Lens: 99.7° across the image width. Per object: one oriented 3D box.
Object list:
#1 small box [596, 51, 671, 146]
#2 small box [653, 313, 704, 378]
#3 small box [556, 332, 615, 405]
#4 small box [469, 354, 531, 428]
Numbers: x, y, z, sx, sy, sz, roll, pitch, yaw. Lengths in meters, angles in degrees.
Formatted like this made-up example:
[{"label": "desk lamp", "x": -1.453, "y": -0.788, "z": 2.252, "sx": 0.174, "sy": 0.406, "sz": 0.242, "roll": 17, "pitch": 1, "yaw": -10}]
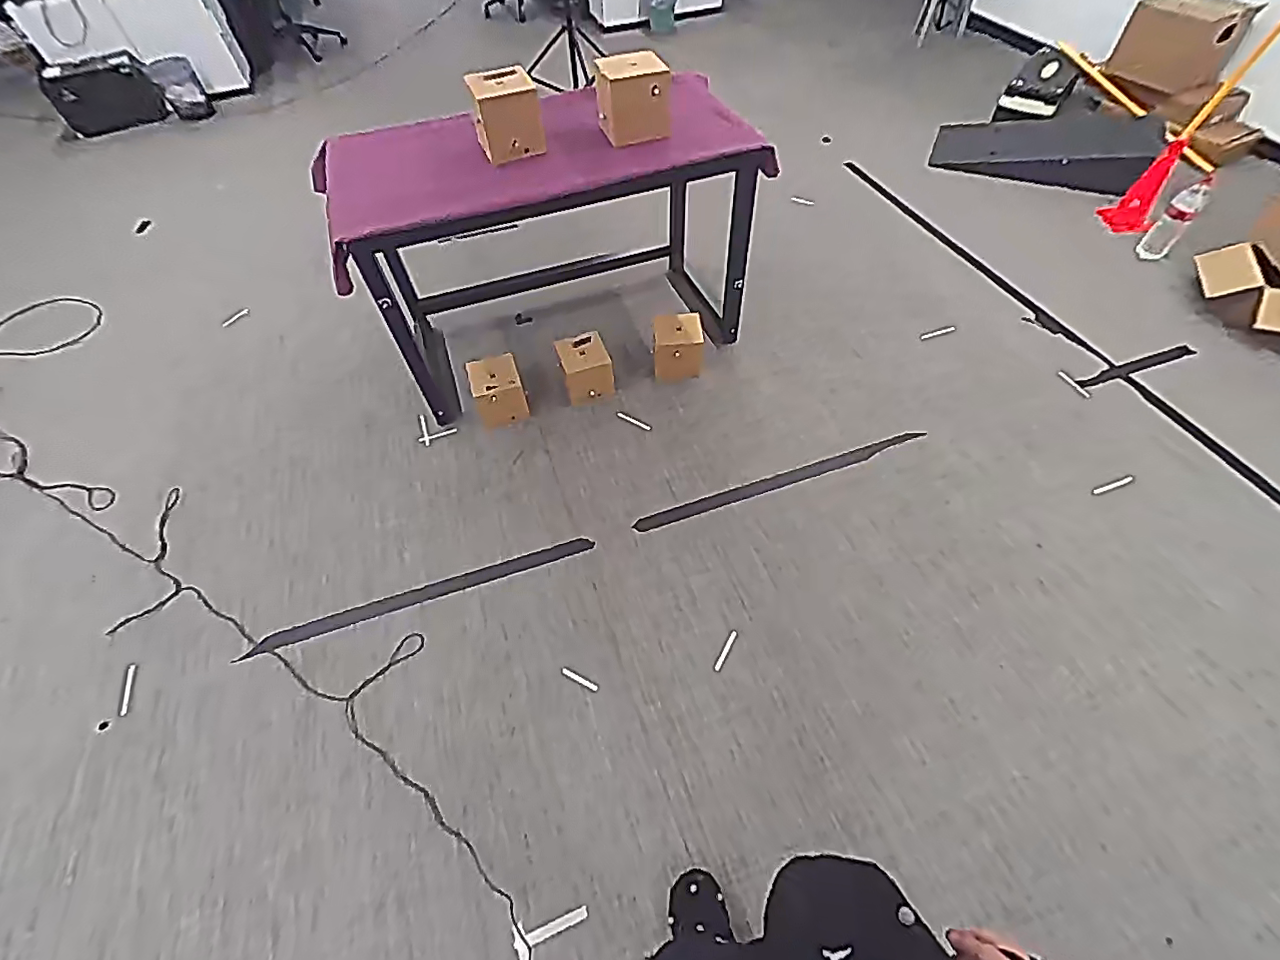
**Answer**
[{"label": "small box", "x": -0.018, "y": -1.098, "z": 1.560, "sx": 0.179, "sy": 0.176, "sz": 0.168, "roll": -17, "pitch": 55, "yaw": -8}, {"label": "small box", "x": 0.142, "y": -0.501, "z": 2.026, "sx": 0.179, "sy": 0.176, "sz": 0.168, "roll": -5, "pitch": 56, "yaw": 1}, {"label": "small box", "x": -0.198, "y": -0.406, "z": 1.976, "sx": 0.168, "sy": 0.176, "sz": 0.179, "roll": -19, "pitch": 57, "yaw": -10}, {"label": "small box", "x": -0.499, "y": -0.317, "z": 1.930, "sx": 0.168, "sy": 0.176, "sz": 0.179, "roll": -17, "pitch": 55, "yaw": -9}]
